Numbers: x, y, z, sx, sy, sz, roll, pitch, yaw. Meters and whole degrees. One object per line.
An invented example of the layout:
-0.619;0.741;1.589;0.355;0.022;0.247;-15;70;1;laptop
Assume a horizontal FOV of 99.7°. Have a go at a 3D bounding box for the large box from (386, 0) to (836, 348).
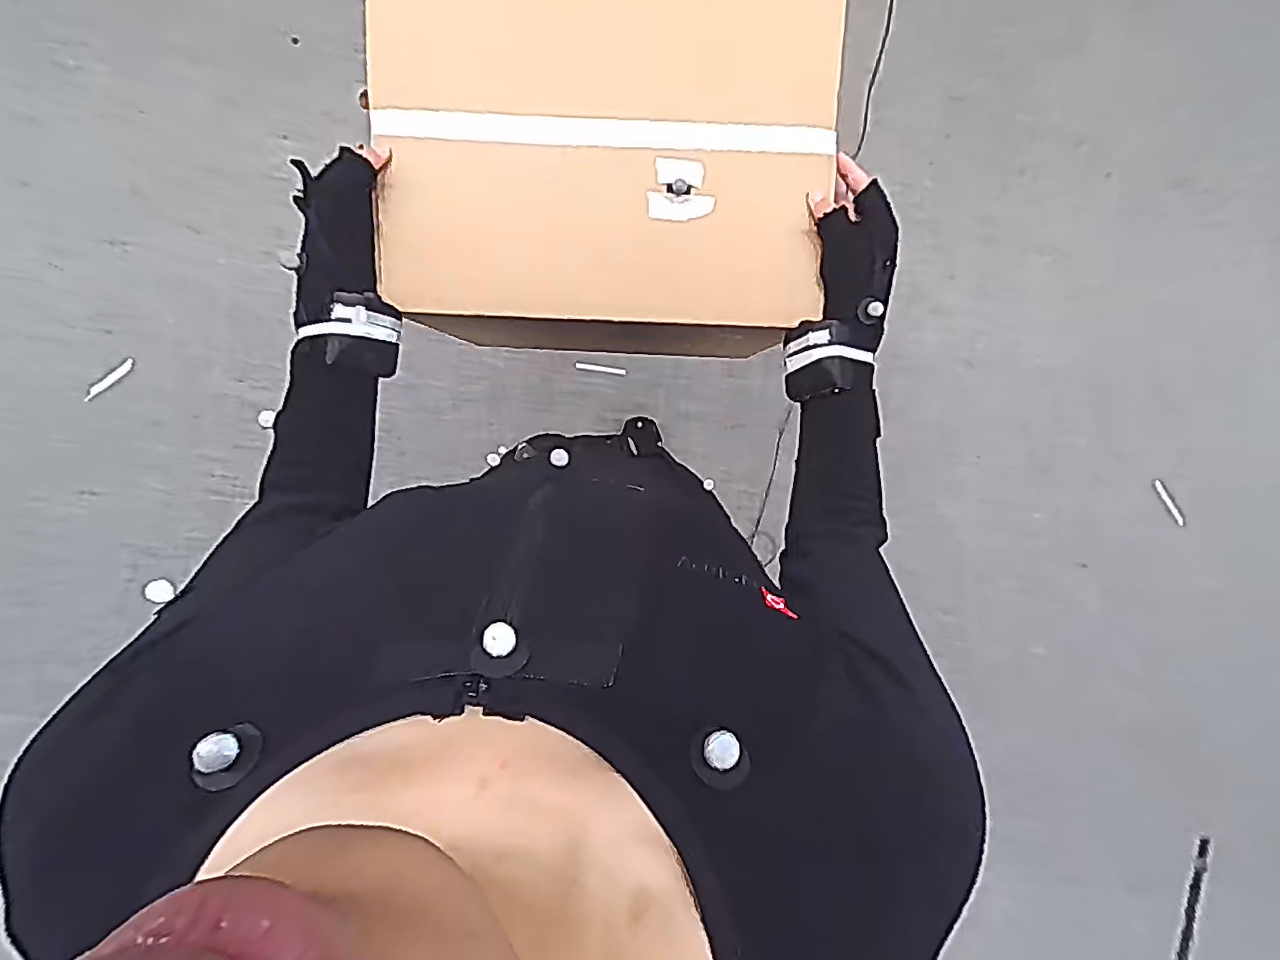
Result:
-0.032;-0.330;0.637;0.408;0.320;0.320;1;99;-2;large box
